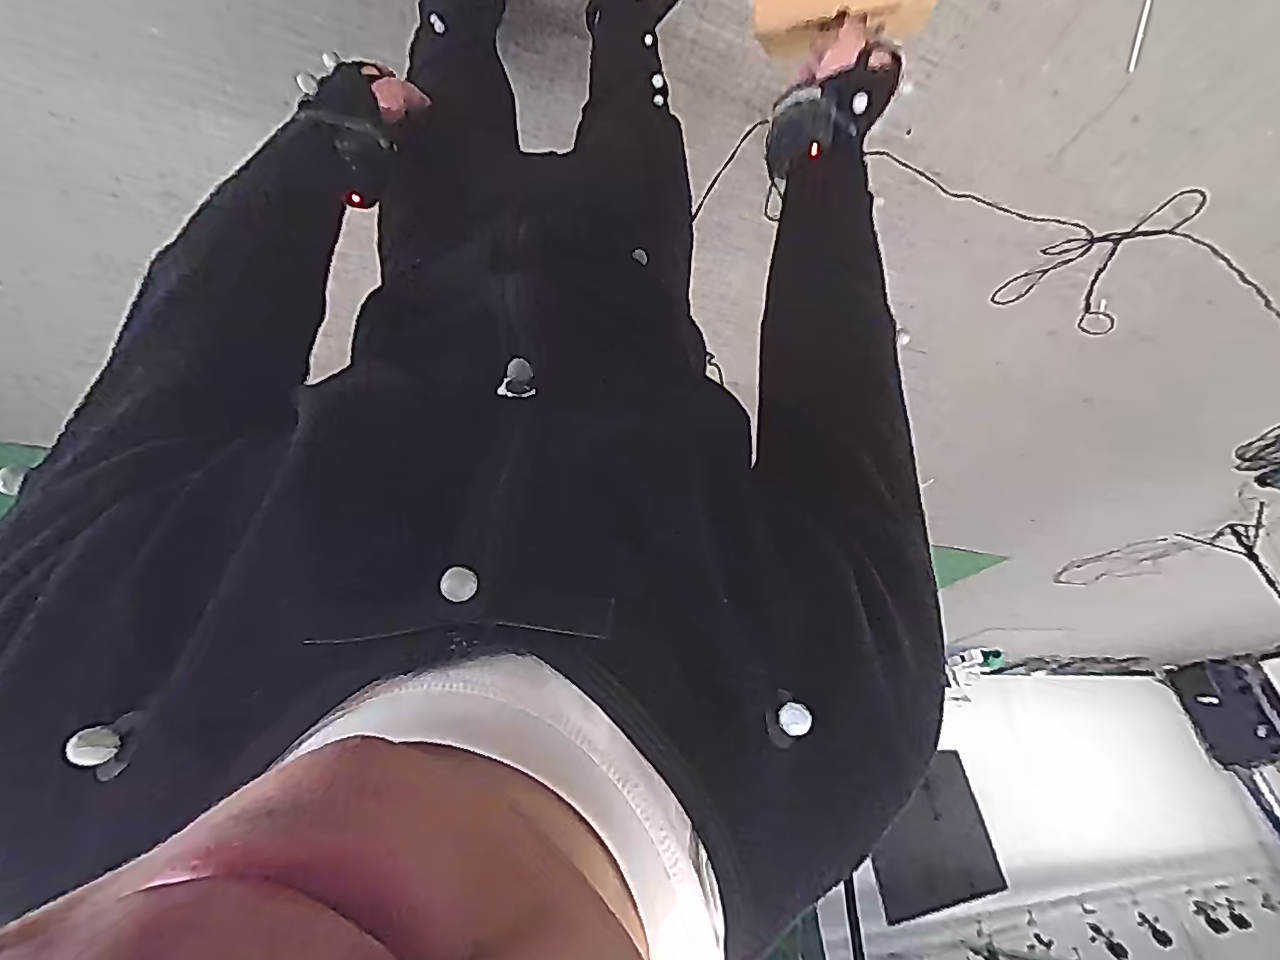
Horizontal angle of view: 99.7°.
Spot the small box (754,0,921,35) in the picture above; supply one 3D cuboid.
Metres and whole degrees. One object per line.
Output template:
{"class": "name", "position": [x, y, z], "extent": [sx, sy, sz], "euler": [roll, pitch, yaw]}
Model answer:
{"class": "small box", "position": [0.202, -0.560, 0.521], "extent": [0.168, 0.176, 0.179], "euler": [3, 119, 18]}
